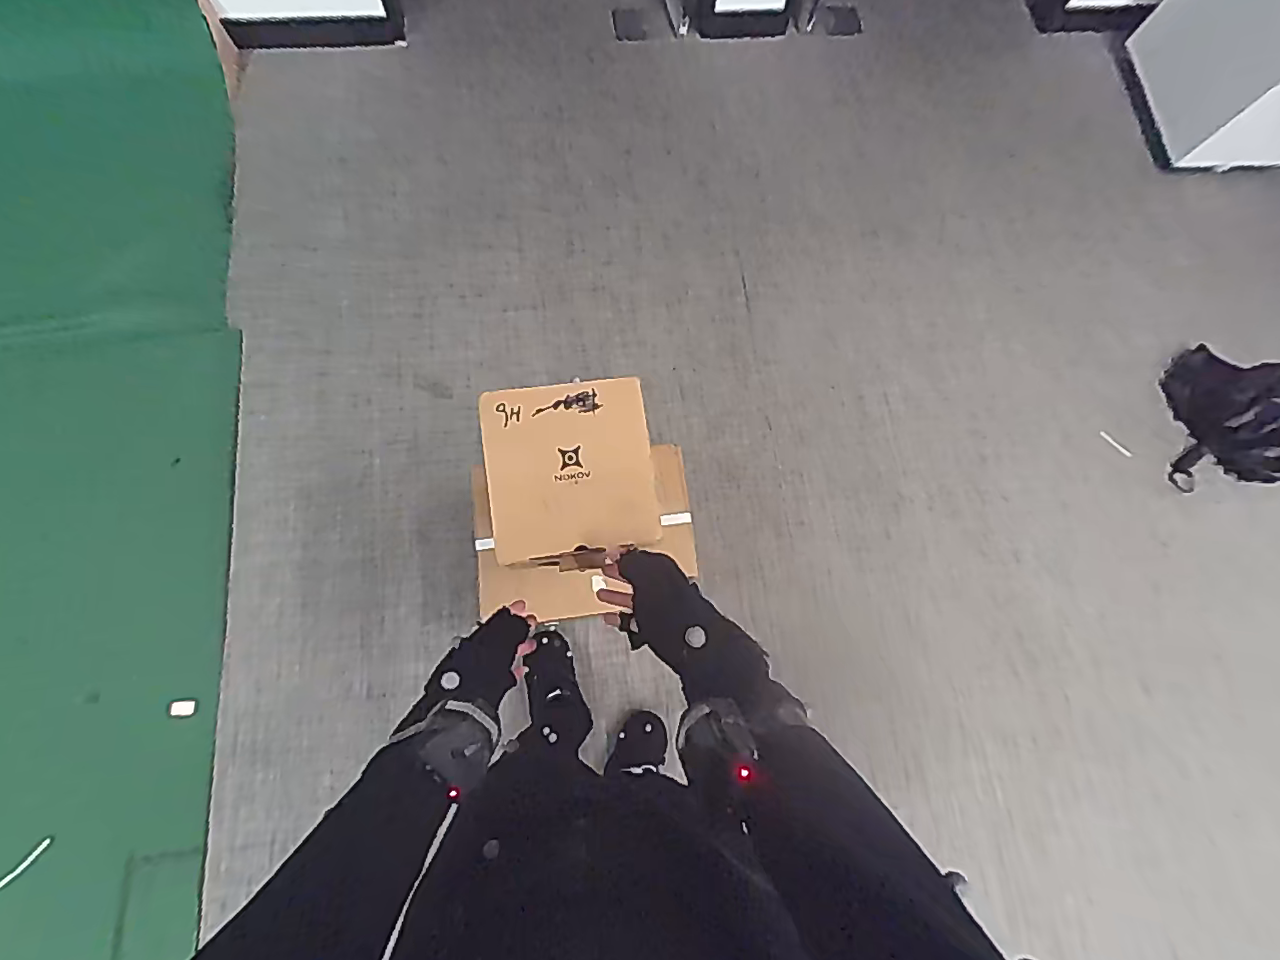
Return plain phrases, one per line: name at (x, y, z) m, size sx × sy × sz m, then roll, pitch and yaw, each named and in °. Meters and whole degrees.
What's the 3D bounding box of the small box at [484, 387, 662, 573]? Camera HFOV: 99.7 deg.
small box at (-0.075, 0.007, 0.624) m, size 0.168 × 0.176 × 0.179 m, roll -7°, pitch 82°, yaw -8°
